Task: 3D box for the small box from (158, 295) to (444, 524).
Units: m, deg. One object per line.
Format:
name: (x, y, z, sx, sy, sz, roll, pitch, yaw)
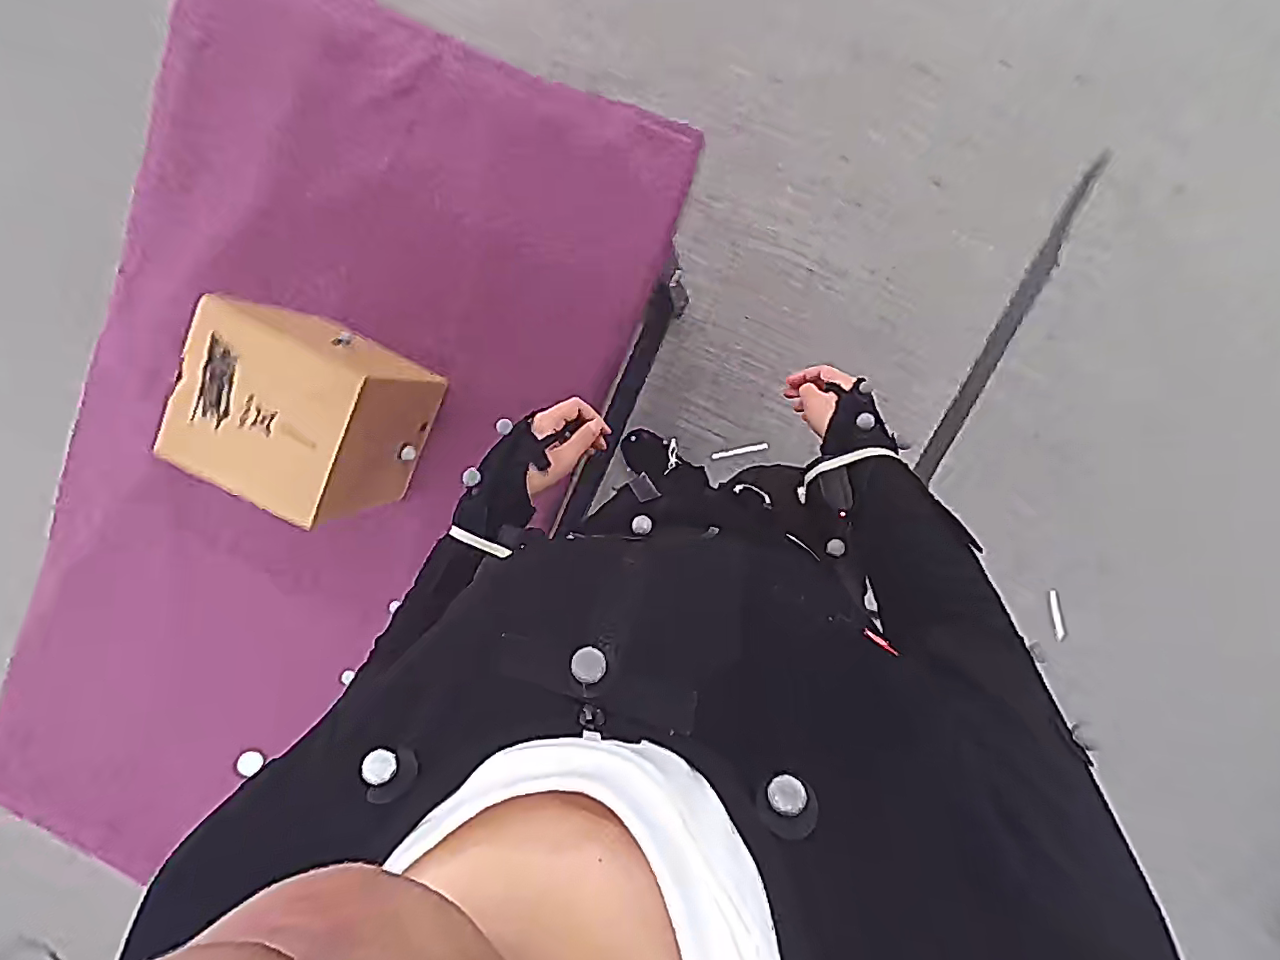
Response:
small box: (-0.353, -0.075, 0.592, 0.179, 0.176, 0.168, 26, 101, 2)
